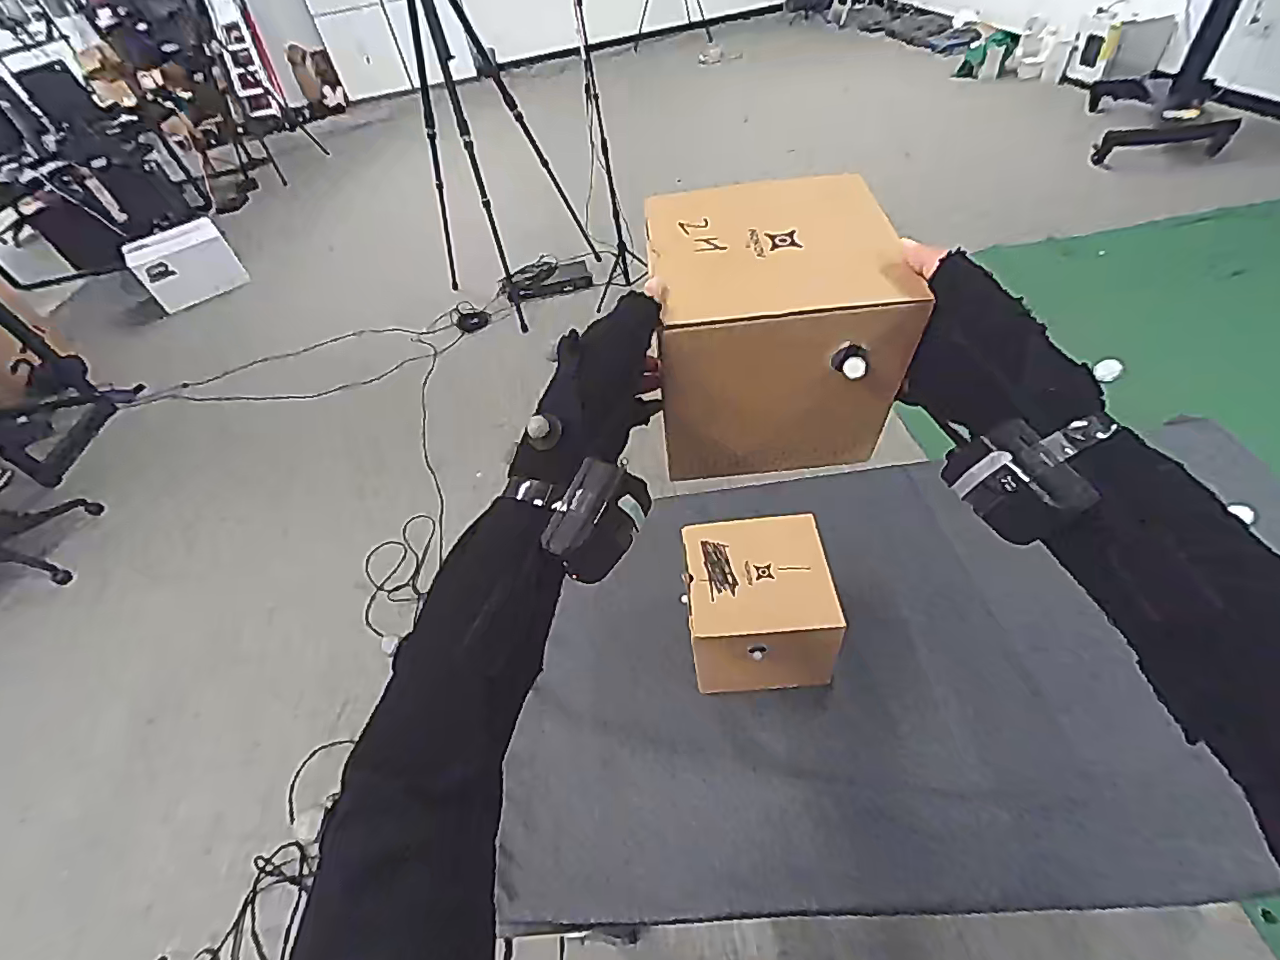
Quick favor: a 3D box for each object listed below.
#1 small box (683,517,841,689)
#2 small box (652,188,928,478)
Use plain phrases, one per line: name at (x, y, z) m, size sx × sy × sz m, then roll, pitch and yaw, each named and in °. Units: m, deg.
small box at (0.156, 0.172, 0.738) m, size 0.179 × 0.176 × 0.168 m, roll -6°, pitch 47°, yaw 4°
small box at (0.104, -0.118, 0.463) m, size 0.179 × 0.176 × 0.168 m, roll -5°, pitch 53°, yaw 2°
